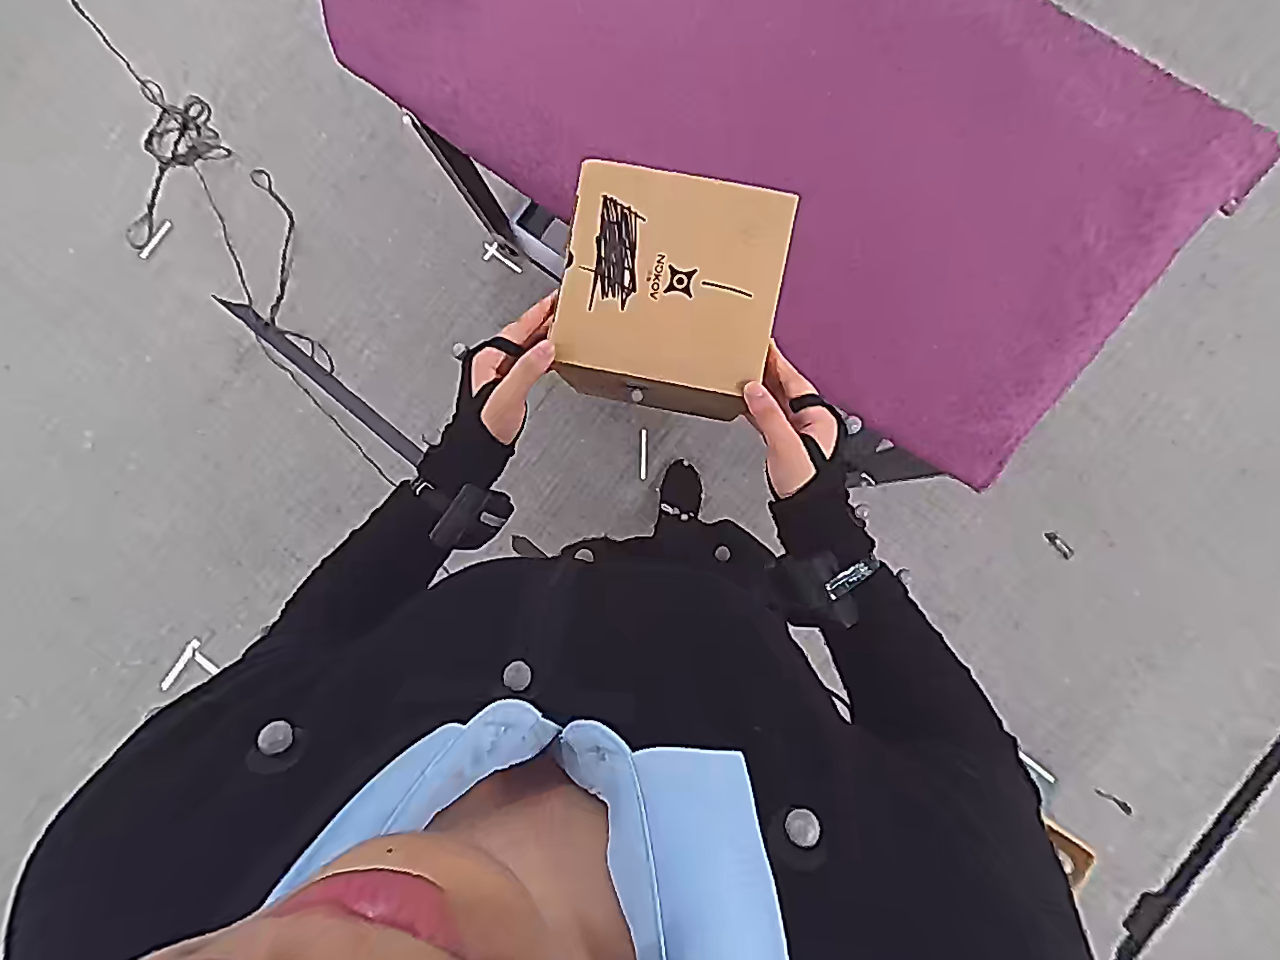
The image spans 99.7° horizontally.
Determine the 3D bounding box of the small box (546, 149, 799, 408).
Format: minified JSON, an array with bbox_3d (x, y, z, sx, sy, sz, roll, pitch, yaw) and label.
[{"bbox_3d":[0.028,-0.168,0.506,0.179,0.176,0.168,11,91,2],"label":"small box"}]
